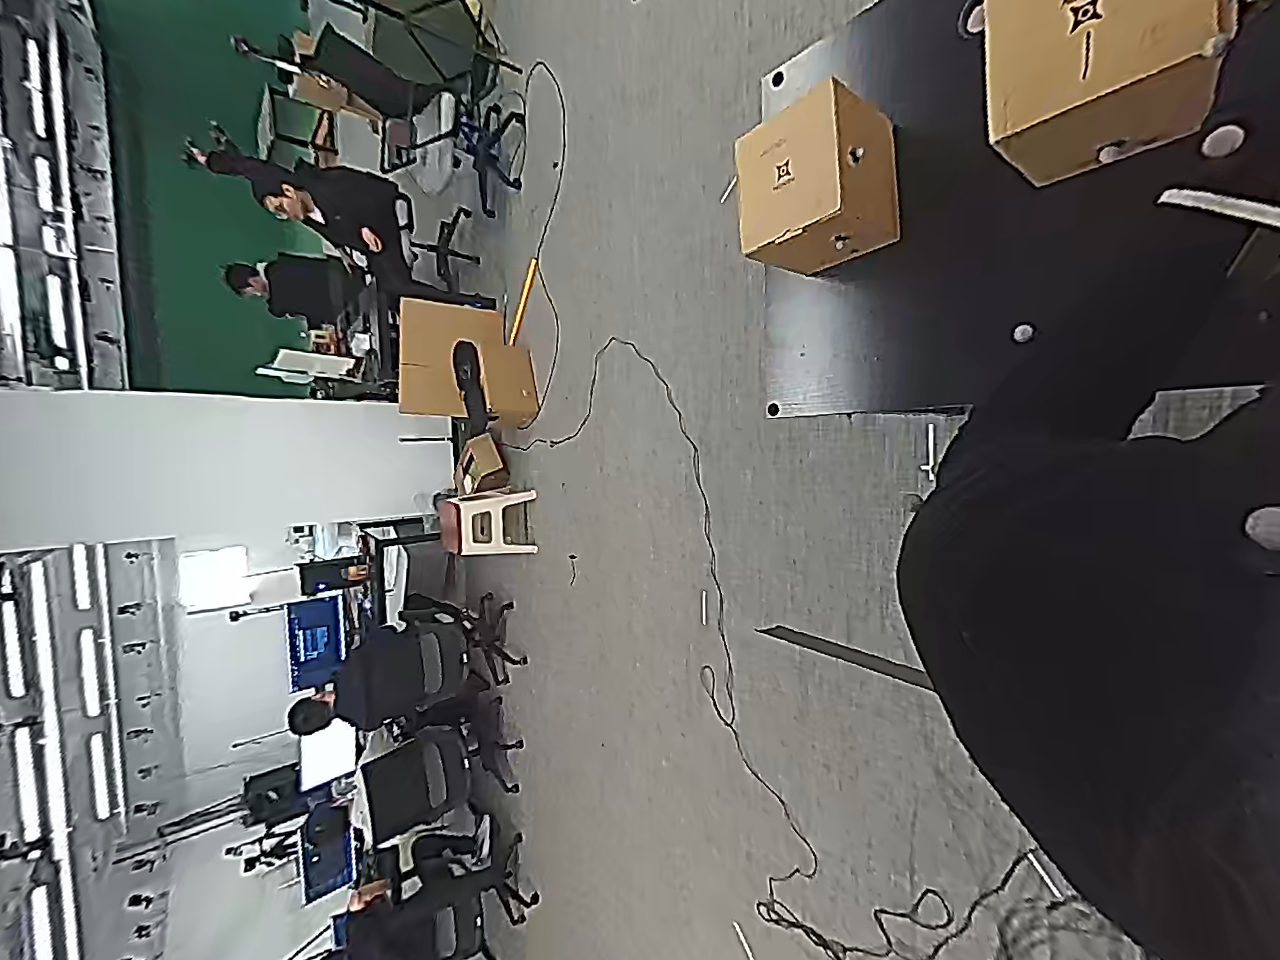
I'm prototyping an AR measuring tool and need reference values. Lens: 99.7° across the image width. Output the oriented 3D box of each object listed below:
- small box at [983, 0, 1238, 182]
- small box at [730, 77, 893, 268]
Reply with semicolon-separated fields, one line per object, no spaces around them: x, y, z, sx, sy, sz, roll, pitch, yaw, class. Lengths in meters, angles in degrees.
0.462;-0.434;0.536;0.168;0.176;0.179;1;95;51;small box
0.254;-0.428;0.795;0.168;0.176;0.179;-4;90;50;small box
